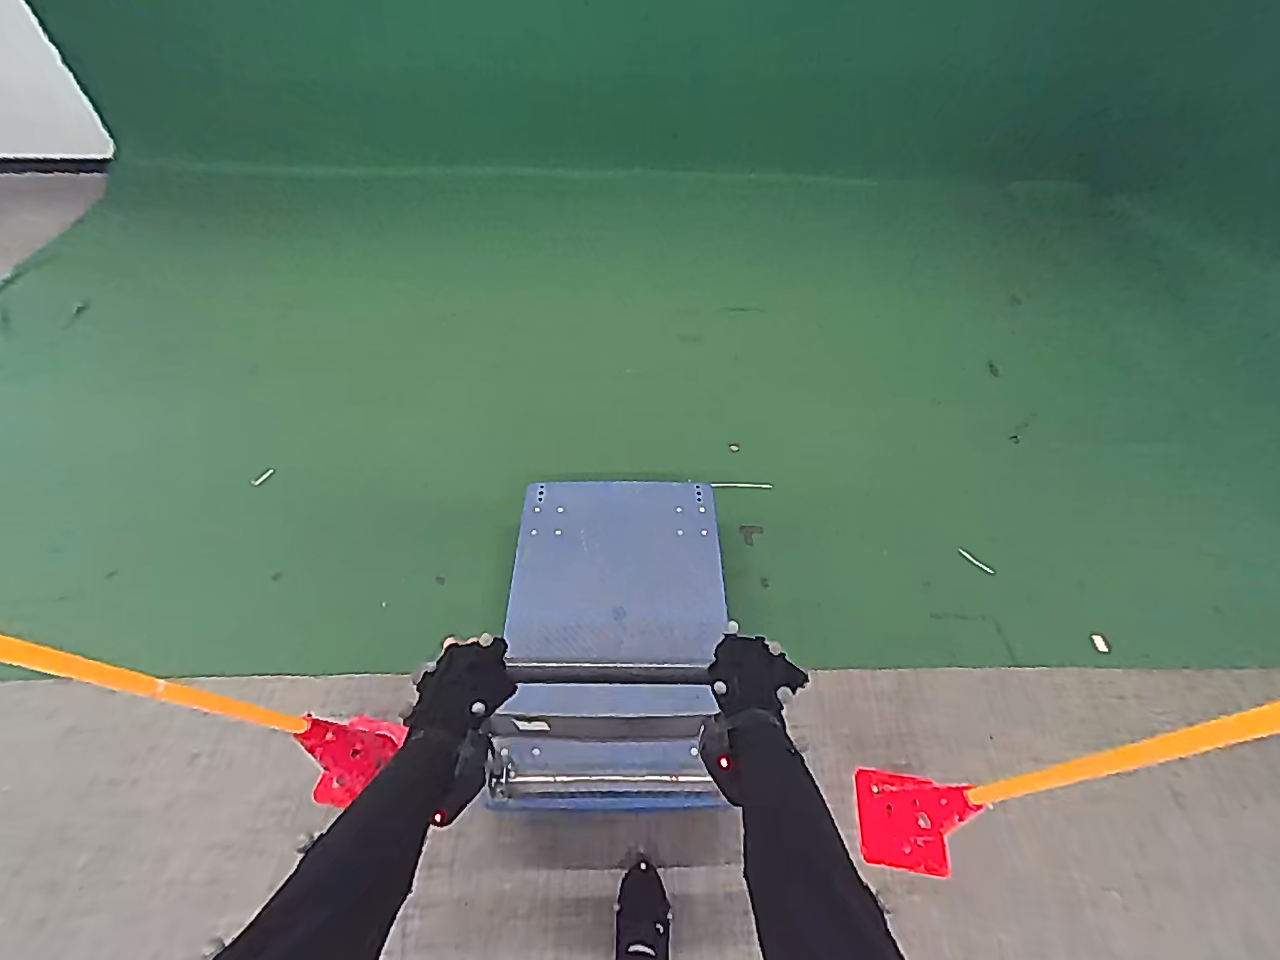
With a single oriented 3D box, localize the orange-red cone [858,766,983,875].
[{"bbox_3d":[0.619,0.694,1.140,0.198,0.360,0.199,8,53,6],"label":"orange-red cone"}]
